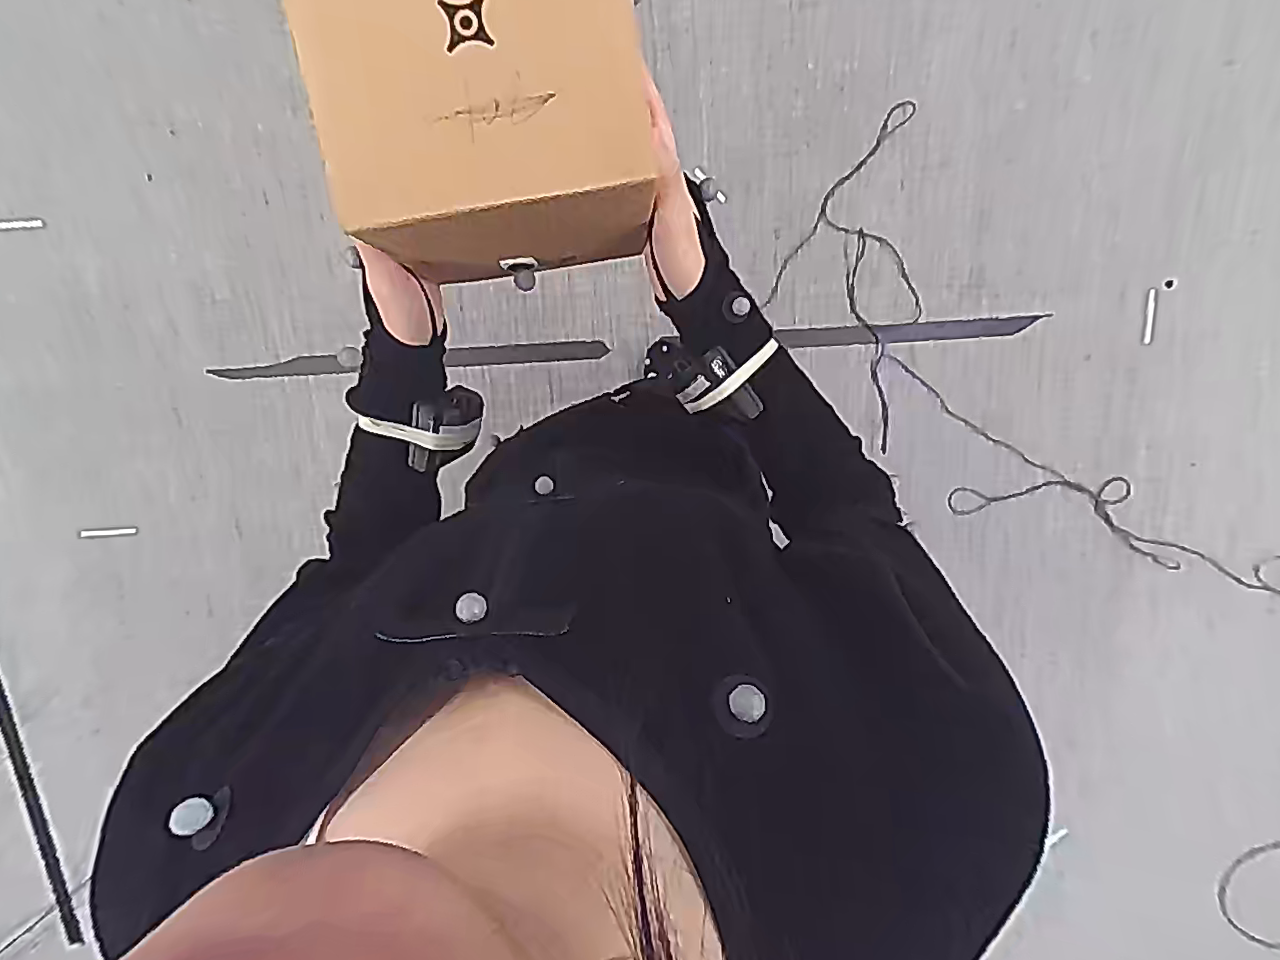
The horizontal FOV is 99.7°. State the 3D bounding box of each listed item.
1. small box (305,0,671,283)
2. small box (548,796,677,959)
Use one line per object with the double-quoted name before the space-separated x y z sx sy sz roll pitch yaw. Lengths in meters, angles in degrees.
"small box" -0.082 -0.240 0.342 0.168 0.176 0.179 -11 101 0
"small box" -0.035 0.591 0.775 0.168 0.176 0.179 -2 101 -2
